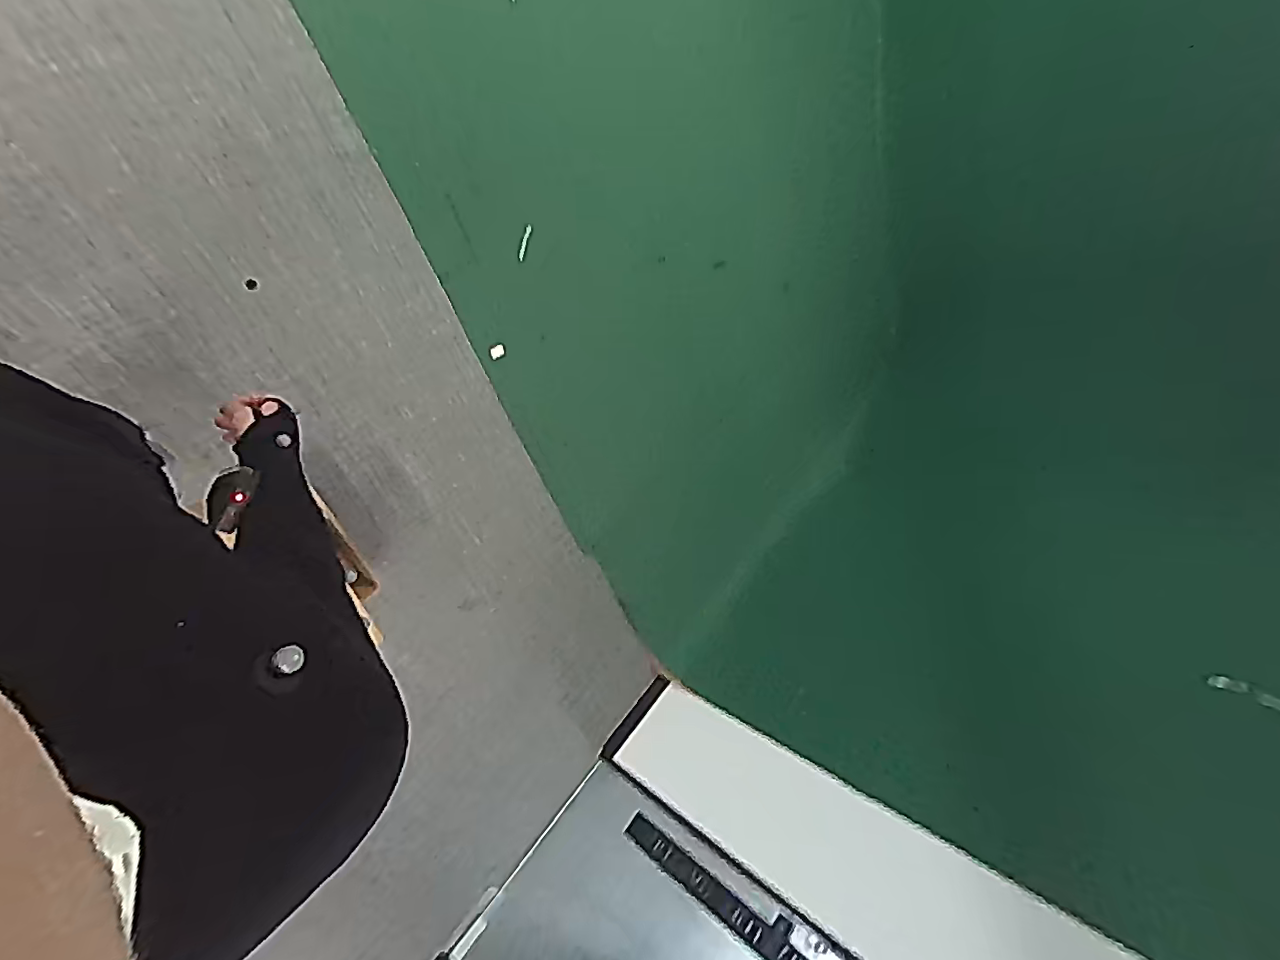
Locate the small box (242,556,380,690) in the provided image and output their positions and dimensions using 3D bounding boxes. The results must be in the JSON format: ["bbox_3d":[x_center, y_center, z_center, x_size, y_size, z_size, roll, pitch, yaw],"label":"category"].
[{"bbox_3d":[-0.680,0.288,1.121,0.168,0.176,0.179,-36,127,-33],"label":"small box"}]
